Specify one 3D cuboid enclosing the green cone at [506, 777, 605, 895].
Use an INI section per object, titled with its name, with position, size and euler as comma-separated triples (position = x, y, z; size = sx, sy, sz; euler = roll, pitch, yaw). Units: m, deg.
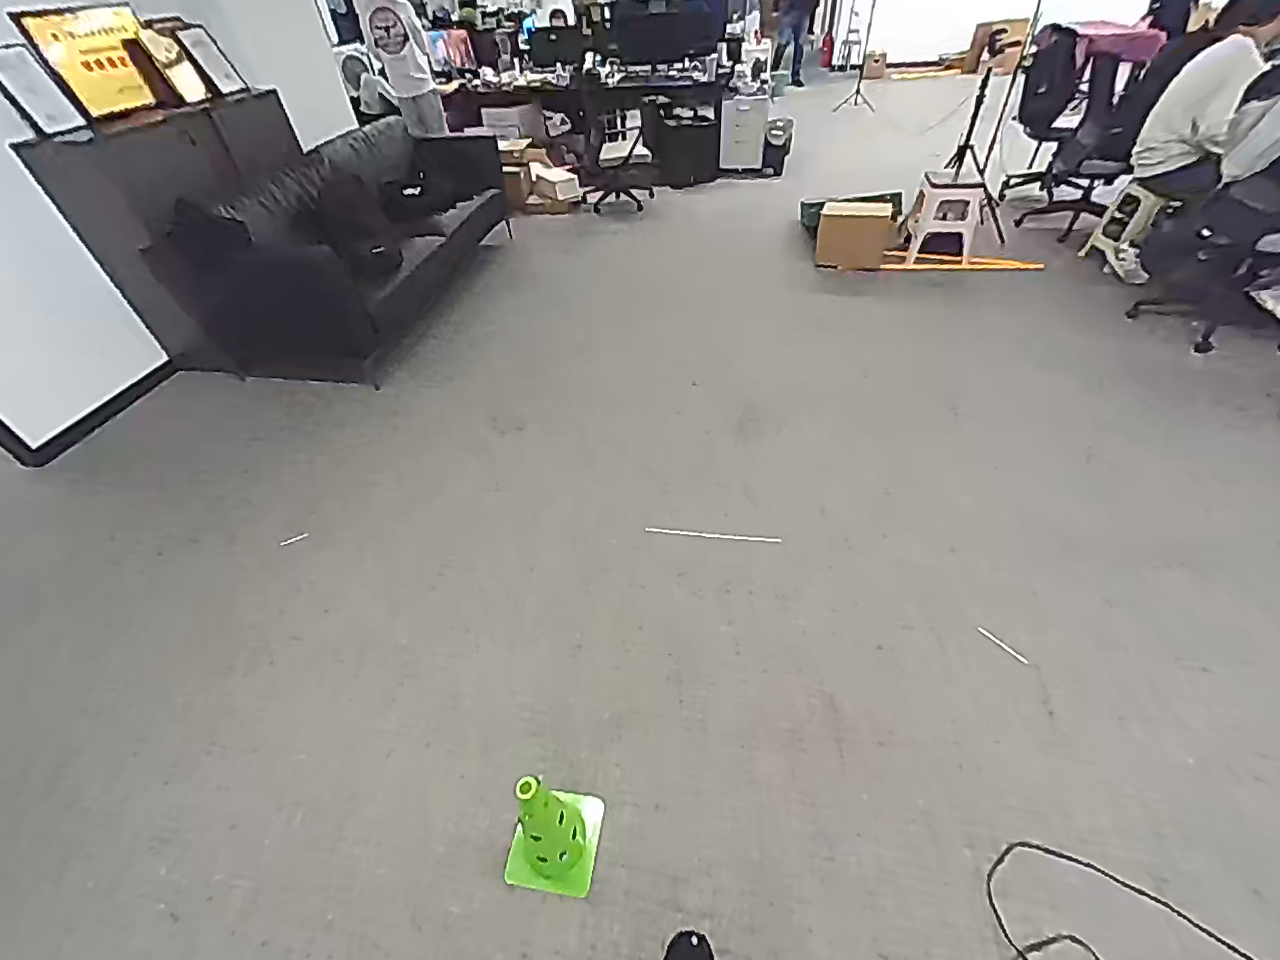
[green cone]
position = -0.203, 0.720, 1.155
size = 0.202, 0.368, 0.200
euler = 4, 45, 8
